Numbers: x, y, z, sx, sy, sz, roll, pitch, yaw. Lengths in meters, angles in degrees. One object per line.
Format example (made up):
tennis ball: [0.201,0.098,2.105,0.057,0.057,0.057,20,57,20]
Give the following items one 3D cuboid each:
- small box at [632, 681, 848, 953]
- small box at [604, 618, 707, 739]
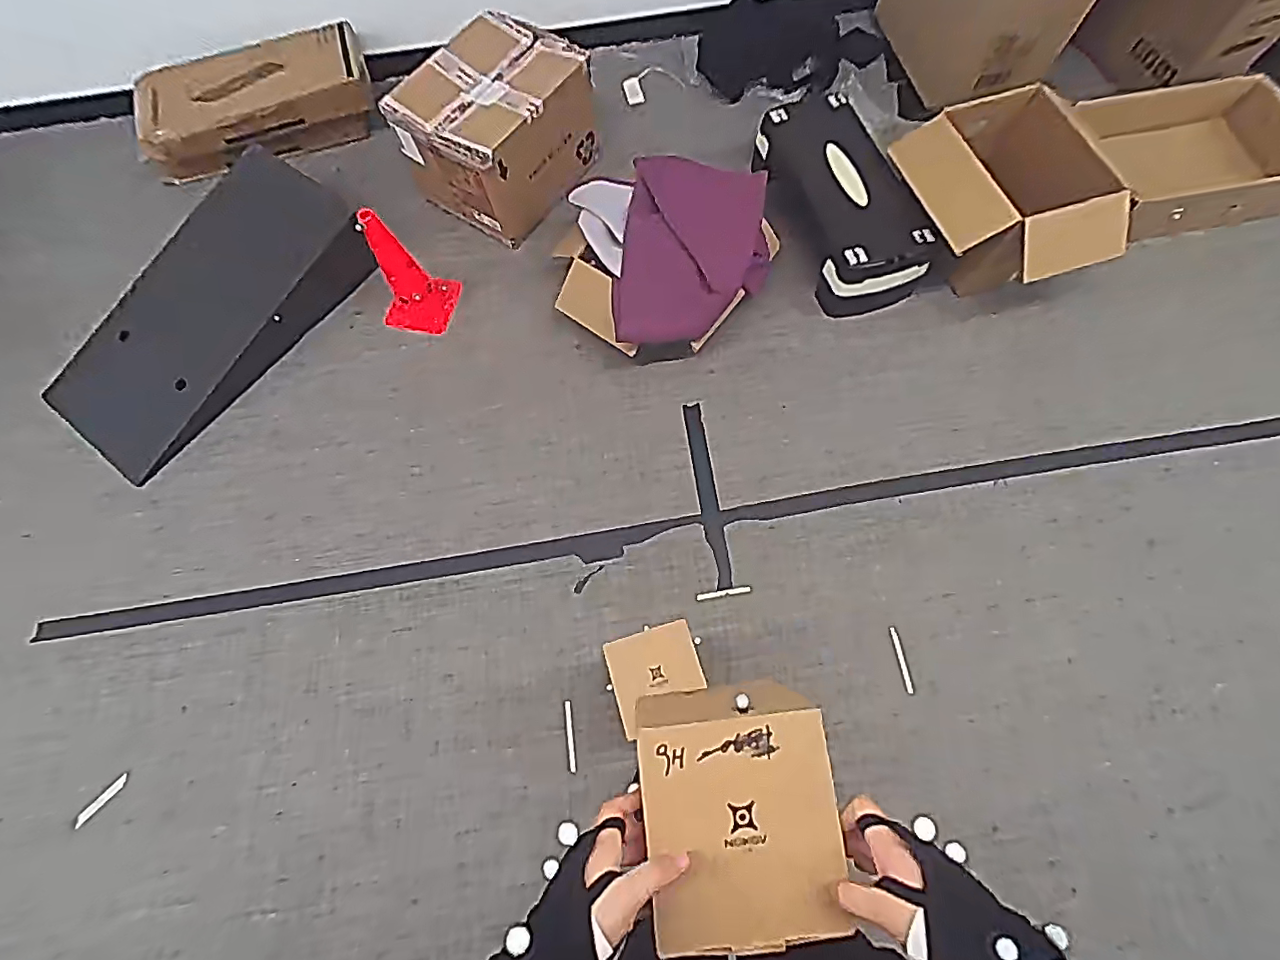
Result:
small box: [0.083,0.309,0.535,0.168,0.176,0.179,-6,78,-1]
small box: [0.036,0.385,1.057,0.168,0.176,0.179,-17,70,-2]
